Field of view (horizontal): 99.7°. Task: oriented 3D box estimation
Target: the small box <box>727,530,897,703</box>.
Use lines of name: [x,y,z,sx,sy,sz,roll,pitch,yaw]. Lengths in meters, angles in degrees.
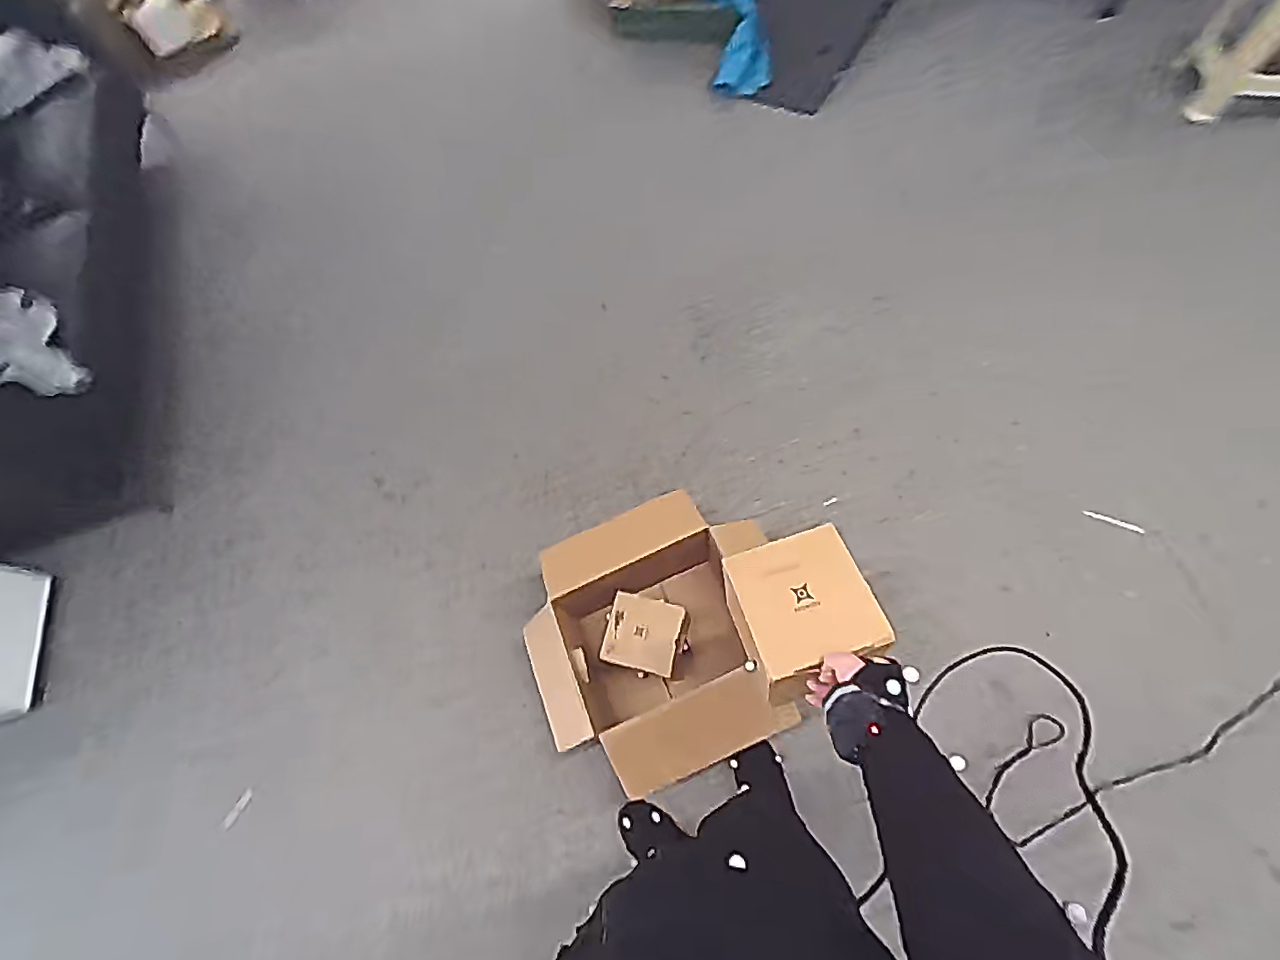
small box: [0.232,0.203,0.771,0.168,0.176,0.179,-16,54,-1]
